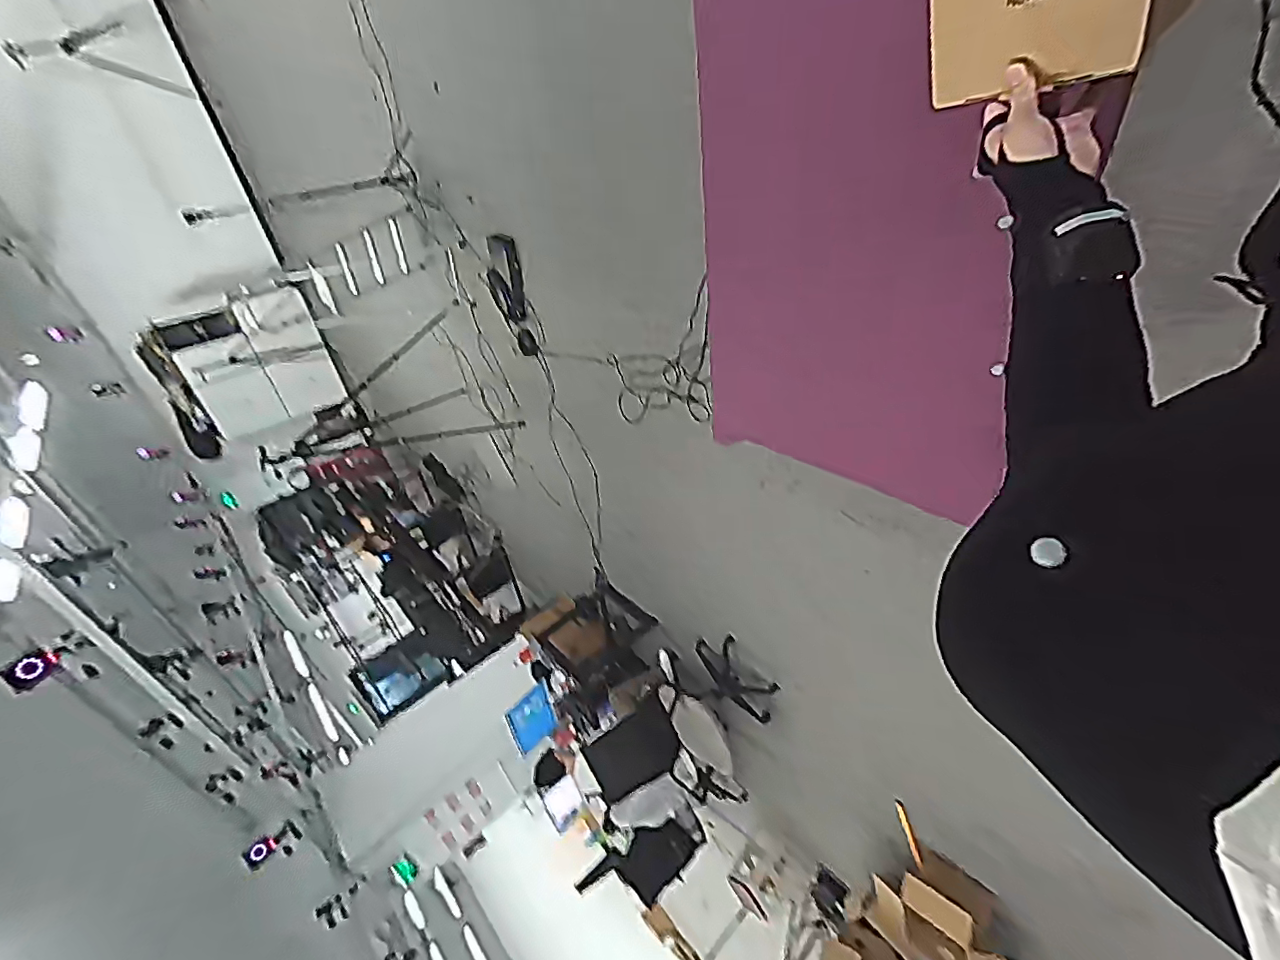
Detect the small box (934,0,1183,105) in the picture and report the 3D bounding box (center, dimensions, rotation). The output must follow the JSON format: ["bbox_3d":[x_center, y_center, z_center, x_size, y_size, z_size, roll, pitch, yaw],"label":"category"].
[{"bbox_3d":[0.385,-0.480,0.483,0.168,0.176,0.179,22,149,43],"label":"small box"}]
